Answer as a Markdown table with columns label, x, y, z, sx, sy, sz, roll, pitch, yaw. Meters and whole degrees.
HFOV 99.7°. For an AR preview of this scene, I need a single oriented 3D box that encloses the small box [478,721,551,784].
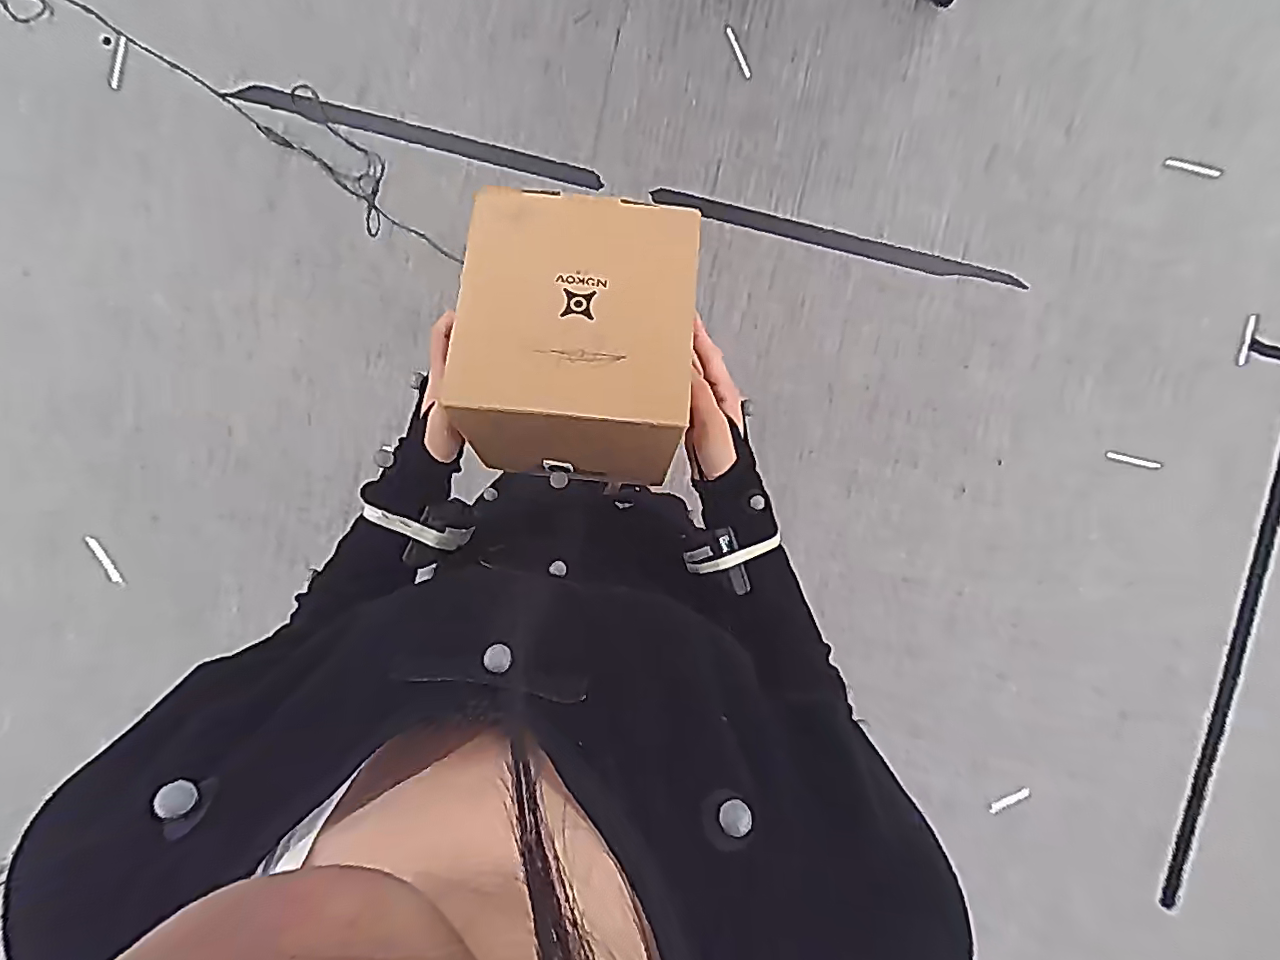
| label | x | y | z | sx | sy | sz | roll | pitch | yaw |
| --- | --- | --- | --- | --- | --- | --- | --- | --- | --- |
| small box | -0.342 | 0.776 | 1.429 | 0.168 | 0.176 | 0.179 | 15 | 92 | -2 |

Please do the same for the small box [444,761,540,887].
| label | x | y | z | sx | sy | sz | roll | pitch | yaw |
| --- | --- | --- | --- | --- | --- | --- | --- | --- | --- |
| small box | -0.337 | 0.793 | 1.265 | 0.168 | 0.176 | 0.179 | 12 | 93 | -1 |

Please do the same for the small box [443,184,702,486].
| label | x | y | z | sx | sy | sz | roll | pitch | yaw |
| --- | --- | --- | --- | --- | --- | --- | --- | --- | --- |
| small box | -0.047 | -0.105 | 0.451 | 0.168 | 0.176 | 0.179 | 5 | 75 | -2 |
